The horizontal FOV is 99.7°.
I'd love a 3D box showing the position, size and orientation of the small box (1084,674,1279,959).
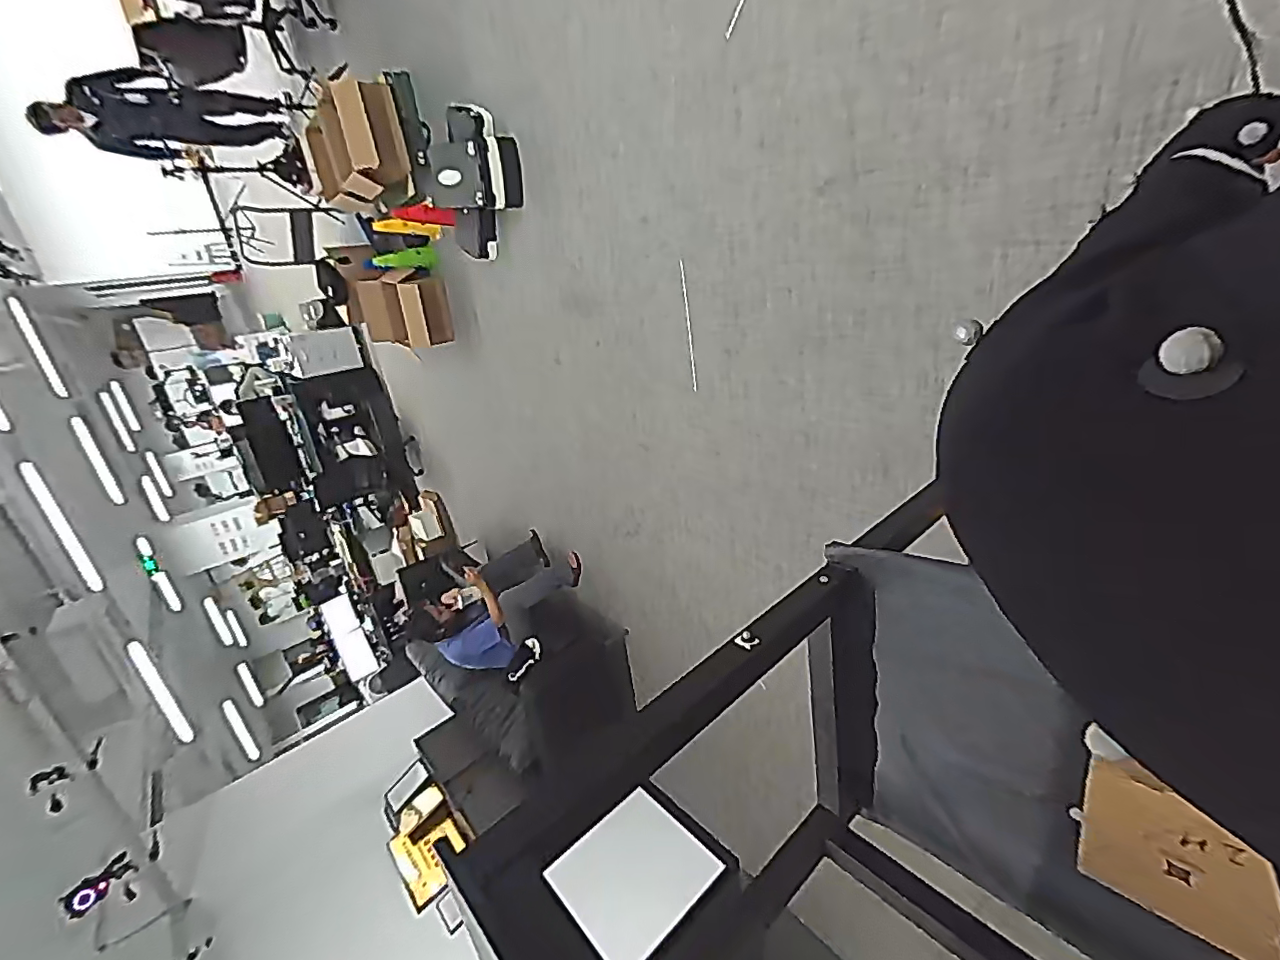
[{"bbox_3d":[0.628,0.358,0.602,0.168,0.176,0.179,12,120,48],"label":"small box"}]
